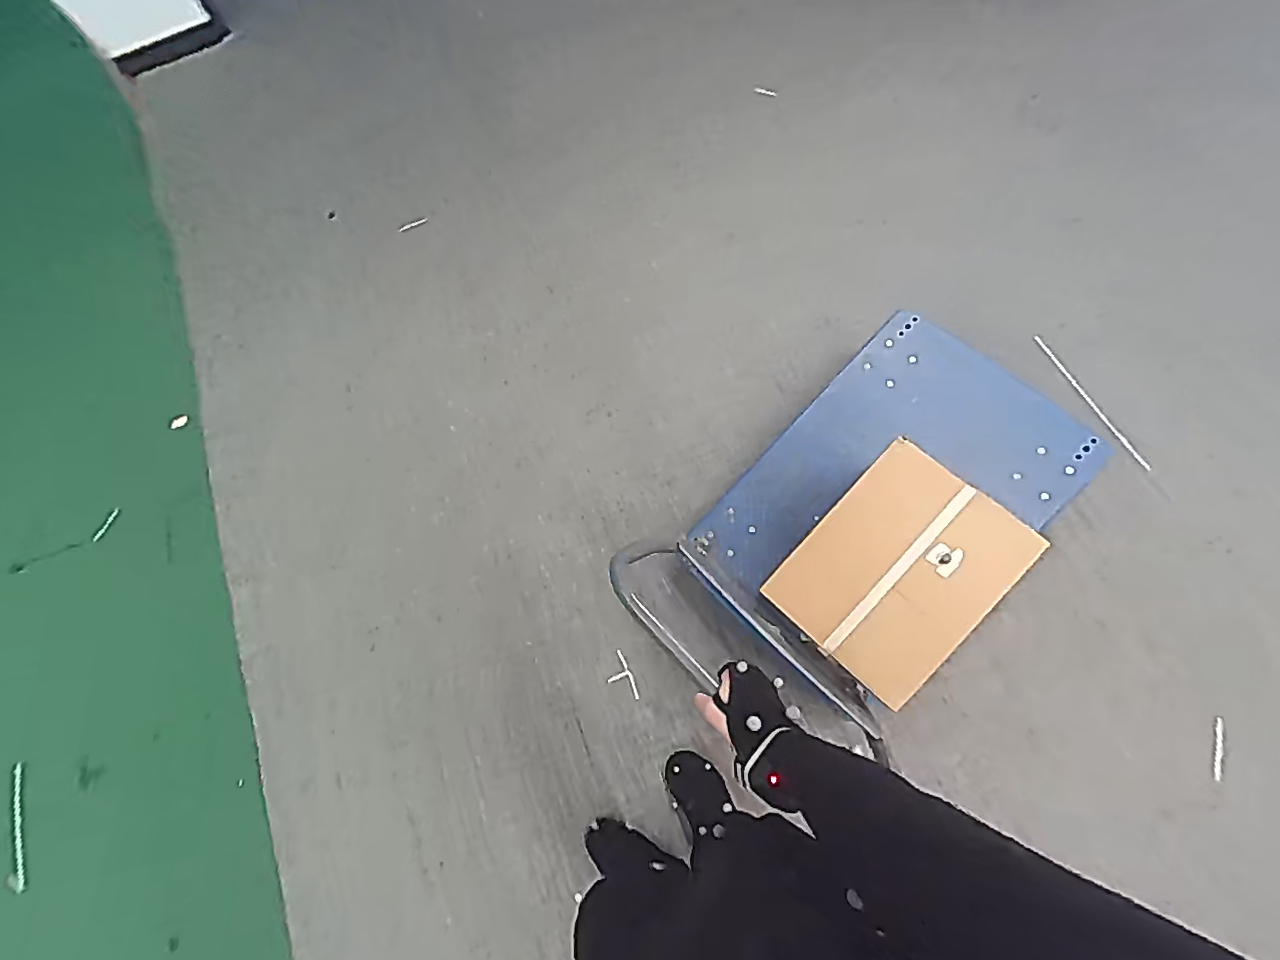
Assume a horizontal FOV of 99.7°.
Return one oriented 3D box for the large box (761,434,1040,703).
[{"bbox_3d":[0.500,0.183,1.135,0.320,0.320,0.408,43,91,16],"label":"large box"}]
